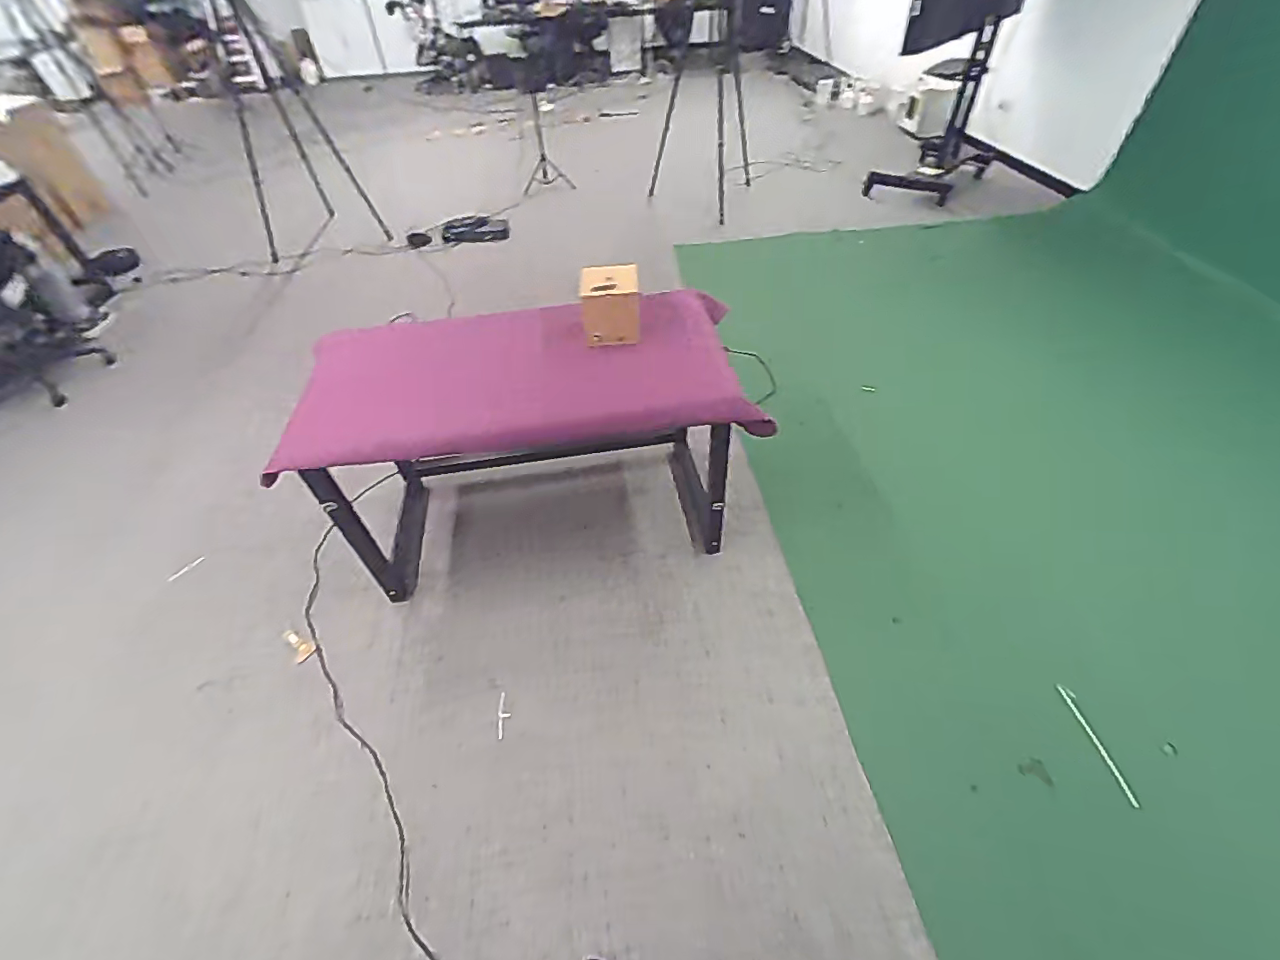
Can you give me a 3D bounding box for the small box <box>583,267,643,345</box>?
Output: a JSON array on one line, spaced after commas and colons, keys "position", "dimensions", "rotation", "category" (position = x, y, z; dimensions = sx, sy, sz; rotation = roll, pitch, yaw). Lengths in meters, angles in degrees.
[{"position": [-0.076, -0.520, 1.633], "dimensions": [0.168, 0.176, 0.179], "rotation": [-3, 46, 1], "category": "small box"}]
